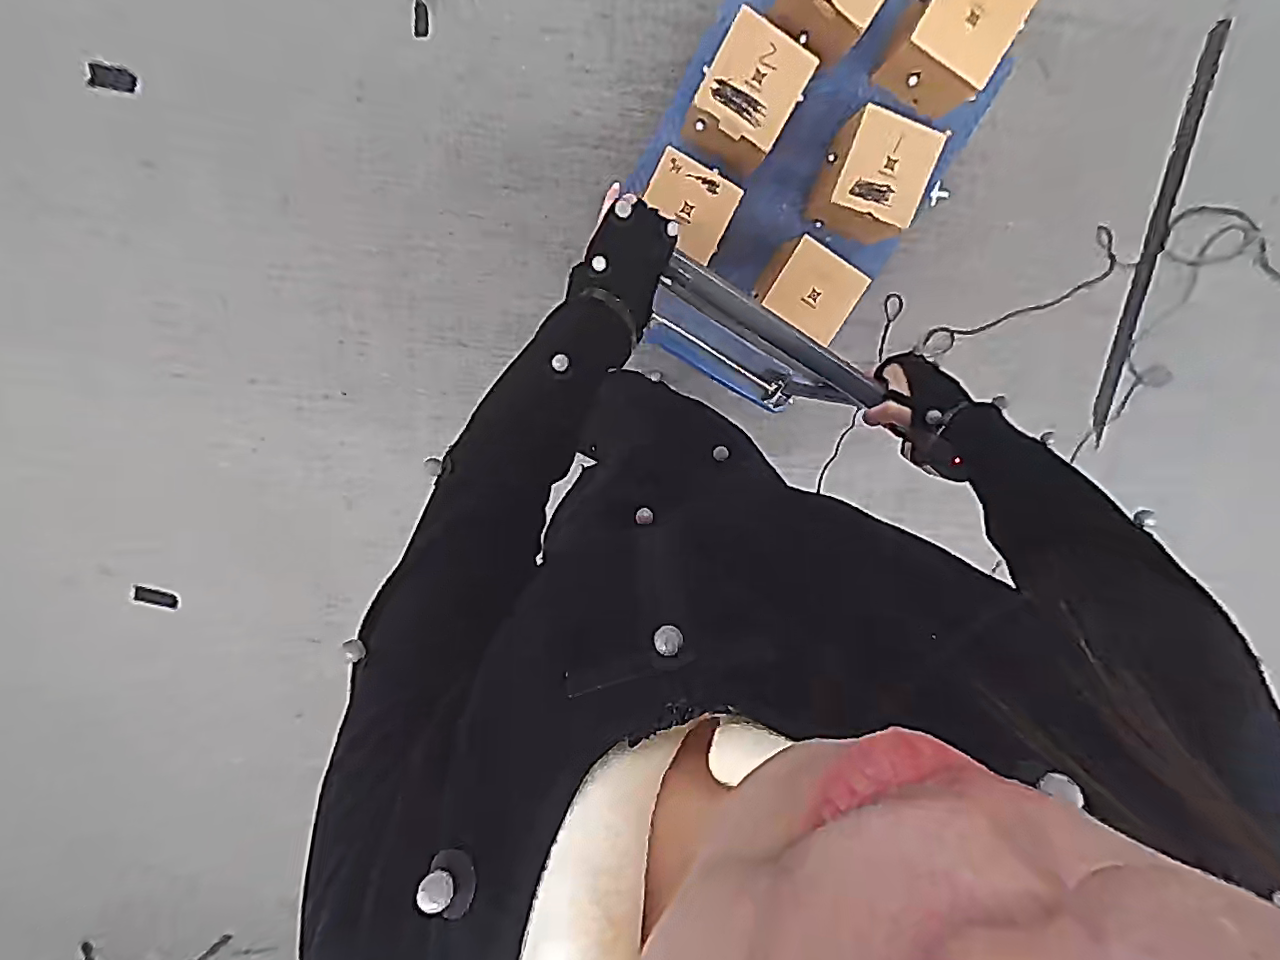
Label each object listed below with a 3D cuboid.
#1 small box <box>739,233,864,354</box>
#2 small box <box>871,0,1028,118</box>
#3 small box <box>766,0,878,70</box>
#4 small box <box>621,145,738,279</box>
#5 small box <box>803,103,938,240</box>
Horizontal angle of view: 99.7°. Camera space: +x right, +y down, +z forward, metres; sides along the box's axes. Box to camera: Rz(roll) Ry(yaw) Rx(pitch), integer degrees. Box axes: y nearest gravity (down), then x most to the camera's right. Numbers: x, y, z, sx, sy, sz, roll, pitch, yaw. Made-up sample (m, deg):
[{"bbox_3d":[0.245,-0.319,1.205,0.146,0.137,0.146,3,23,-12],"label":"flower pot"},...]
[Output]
[{"bbox_3d":[0.330,-0.387,1.151,0.168,0.176,0.179,30,101,-11],"label":"small box"},{"bbox_3d":[0.576,-0.843,1.036,0.168,0.176,0.179,27,103,-9],"label":"small box"},{"bbox_3d":[0.358,-0.924,1.000,0.168,0.176,0.179,31,103,-10],"label":"small box"},{"bbox_3d":[0.072,-0.527,1.097,0.168,0.176,0.179,26,103,-10],"label":"small box"},{"bbox_3d":[0.450,-0.608,1.094,0.168,0.176,0.179,18,103,-8],"label":"small box"}]
